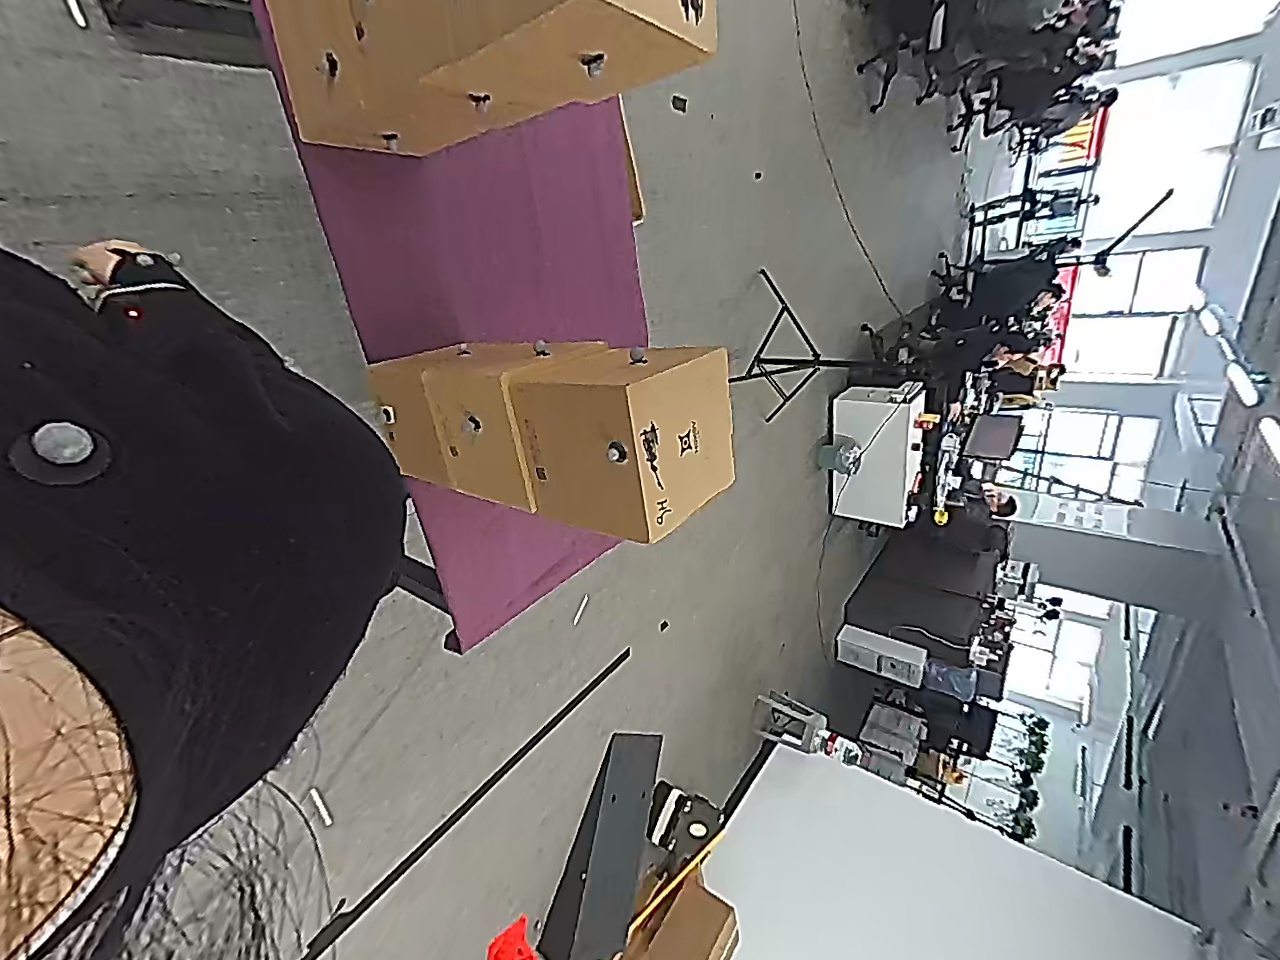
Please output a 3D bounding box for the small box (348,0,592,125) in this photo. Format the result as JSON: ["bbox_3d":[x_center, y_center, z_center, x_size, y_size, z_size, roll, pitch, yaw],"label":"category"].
[{"bbox_3d":[-0.175,-0.484,0.555,0.179,0.176,0.168,-27,120,-44],"label":"small box"}]

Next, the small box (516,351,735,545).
[{"bbox_3d":[-0.010,-0.051,0.616,0.179,0.176,0.168,-32,122,-45],"label":"small box"}]

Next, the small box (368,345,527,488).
[{"bbox_3d":[-0.268,-0.106,0.809,0.179,0.176,0.168,-30,121,-43],"label":"small box"}]

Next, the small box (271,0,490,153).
[{"bbox_3d":[-0.308,-0.511,0.647,0.168,0.176,0.179,-27,119,-46],"label":"small box"}]

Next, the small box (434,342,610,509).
[{"bbox_3d":[-0.144,-0.080,0.707,0.179,0.176,0.168,-32,122,-44],"label":"small box"}]
